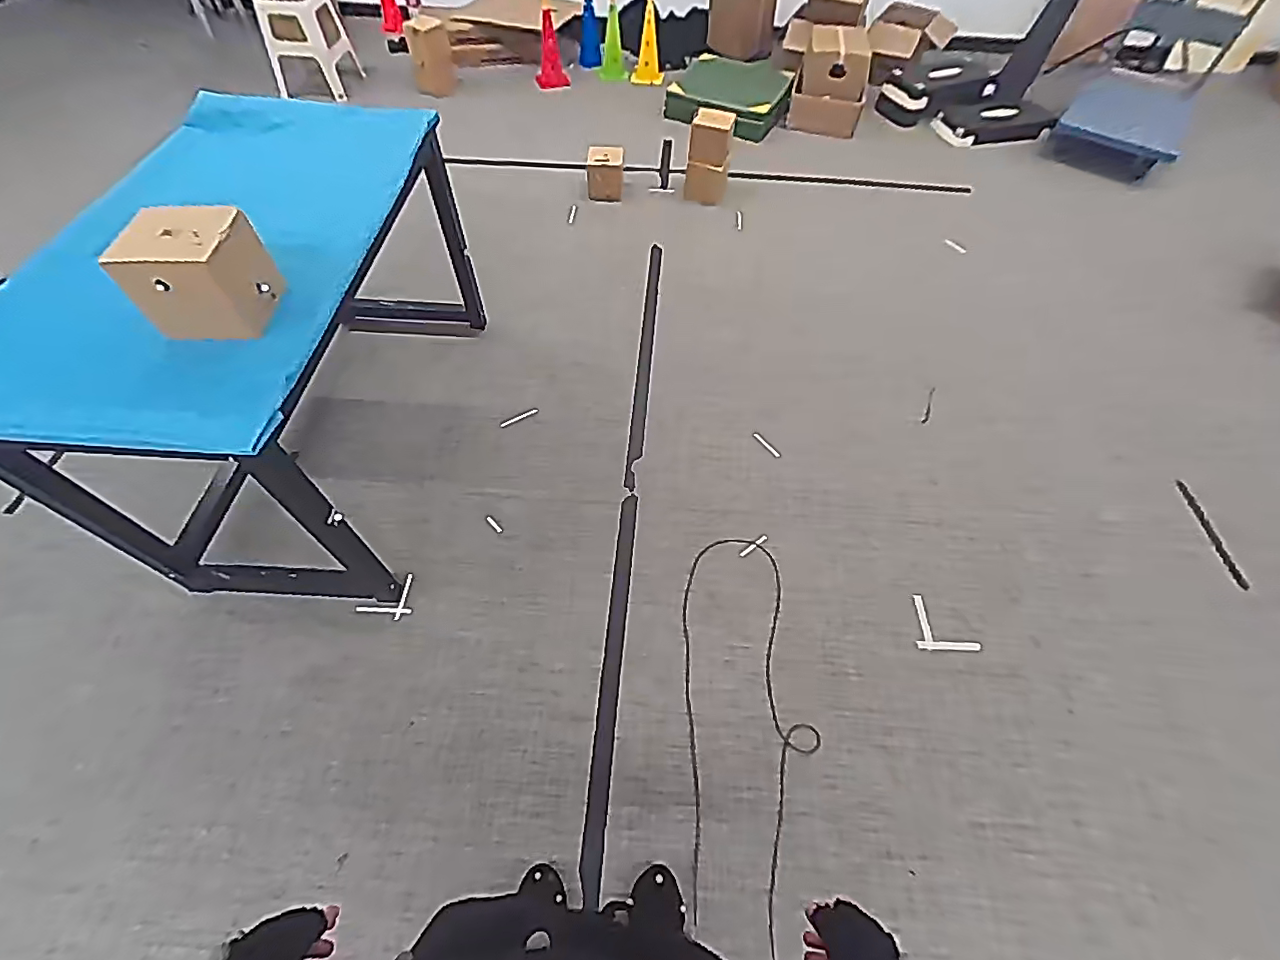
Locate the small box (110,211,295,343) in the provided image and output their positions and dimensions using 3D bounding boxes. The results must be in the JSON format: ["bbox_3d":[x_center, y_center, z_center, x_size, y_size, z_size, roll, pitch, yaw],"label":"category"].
[{"bbox_3d":[-0.798,-0.375,1.011,0.179,0.176,0.168,3,57,-2],"label":"small box"}]

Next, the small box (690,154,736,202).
[{"bbox_3d":[0.352,-1.495,2.651,0.179,0.176,0.168,18,57,9],"label":"small box"}]

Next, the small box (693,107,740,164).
[{"bbox_3d":[0.355,-1.609,2.529,0.179,0.176,0.168,16,58,8],"label":"small box"}]

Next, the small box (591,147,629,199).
[{"bbox_3d":[-0.142,-1.499,2.639,0.168,0.176,0.179,3,55,1],"label":"small box"}]
